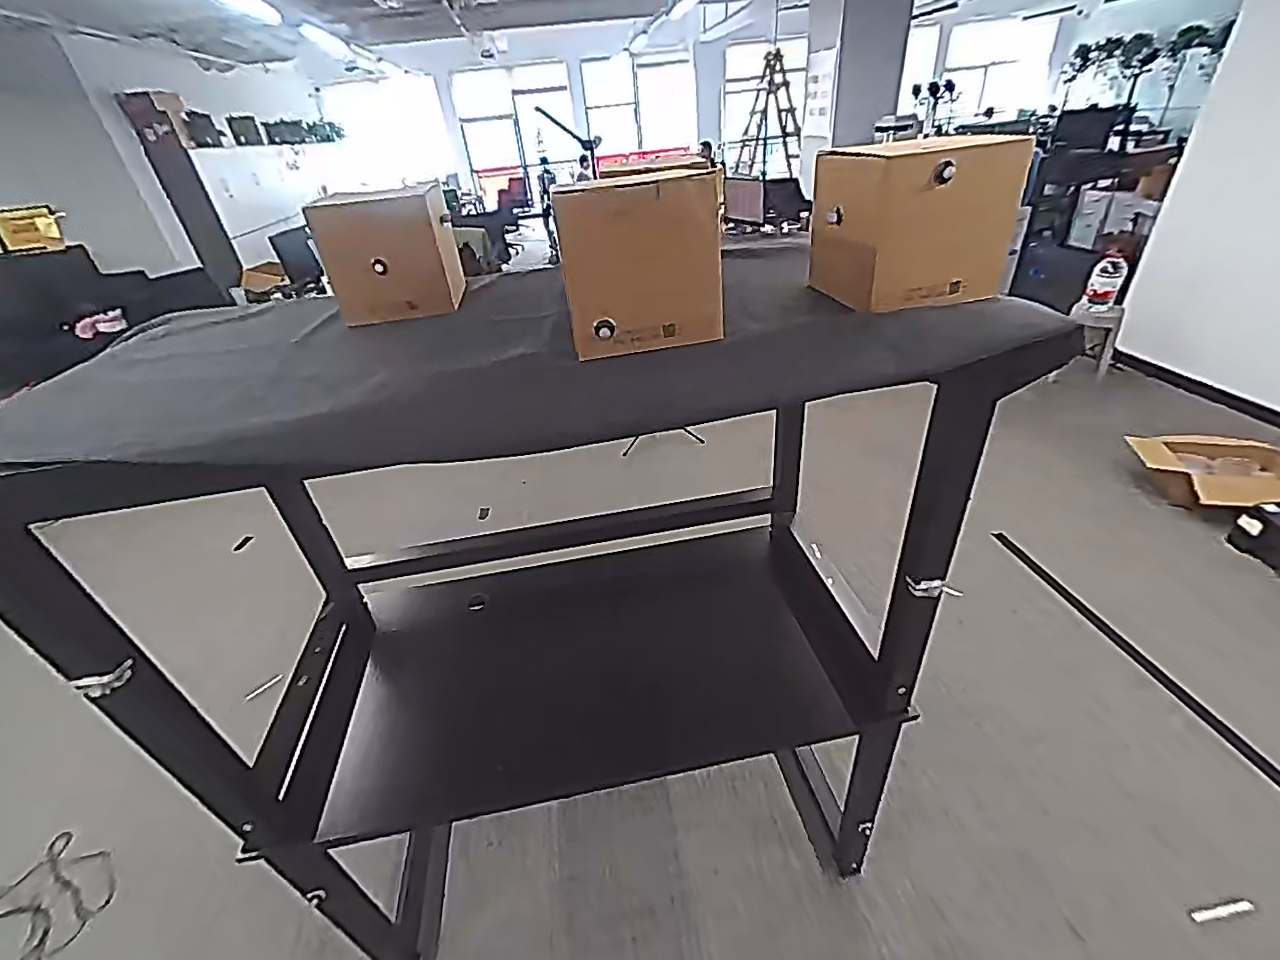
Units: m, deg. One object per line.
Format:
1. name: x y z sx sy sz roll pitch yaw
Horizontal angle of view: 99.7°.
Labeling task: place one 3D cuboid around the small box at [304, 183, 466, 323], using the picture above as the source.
1. small box: -0.379 -0.352 0.844 0.168 0.176 0.179 -9 34 -6

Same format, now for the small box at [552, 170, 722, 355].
1. small box: -0.005 -0.251 0.628 0.168 0.176 0.179 -9 31 -4

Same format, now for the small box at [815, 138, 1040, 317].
1. small box: 0.328 -0.310 0.663 0.168 0.176 0.179 -10 32 -4

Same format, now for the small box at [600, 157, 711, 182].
1. small box: 0.026 -0.422 0.889 0.168 0.176 0.179 -5 33 -1
